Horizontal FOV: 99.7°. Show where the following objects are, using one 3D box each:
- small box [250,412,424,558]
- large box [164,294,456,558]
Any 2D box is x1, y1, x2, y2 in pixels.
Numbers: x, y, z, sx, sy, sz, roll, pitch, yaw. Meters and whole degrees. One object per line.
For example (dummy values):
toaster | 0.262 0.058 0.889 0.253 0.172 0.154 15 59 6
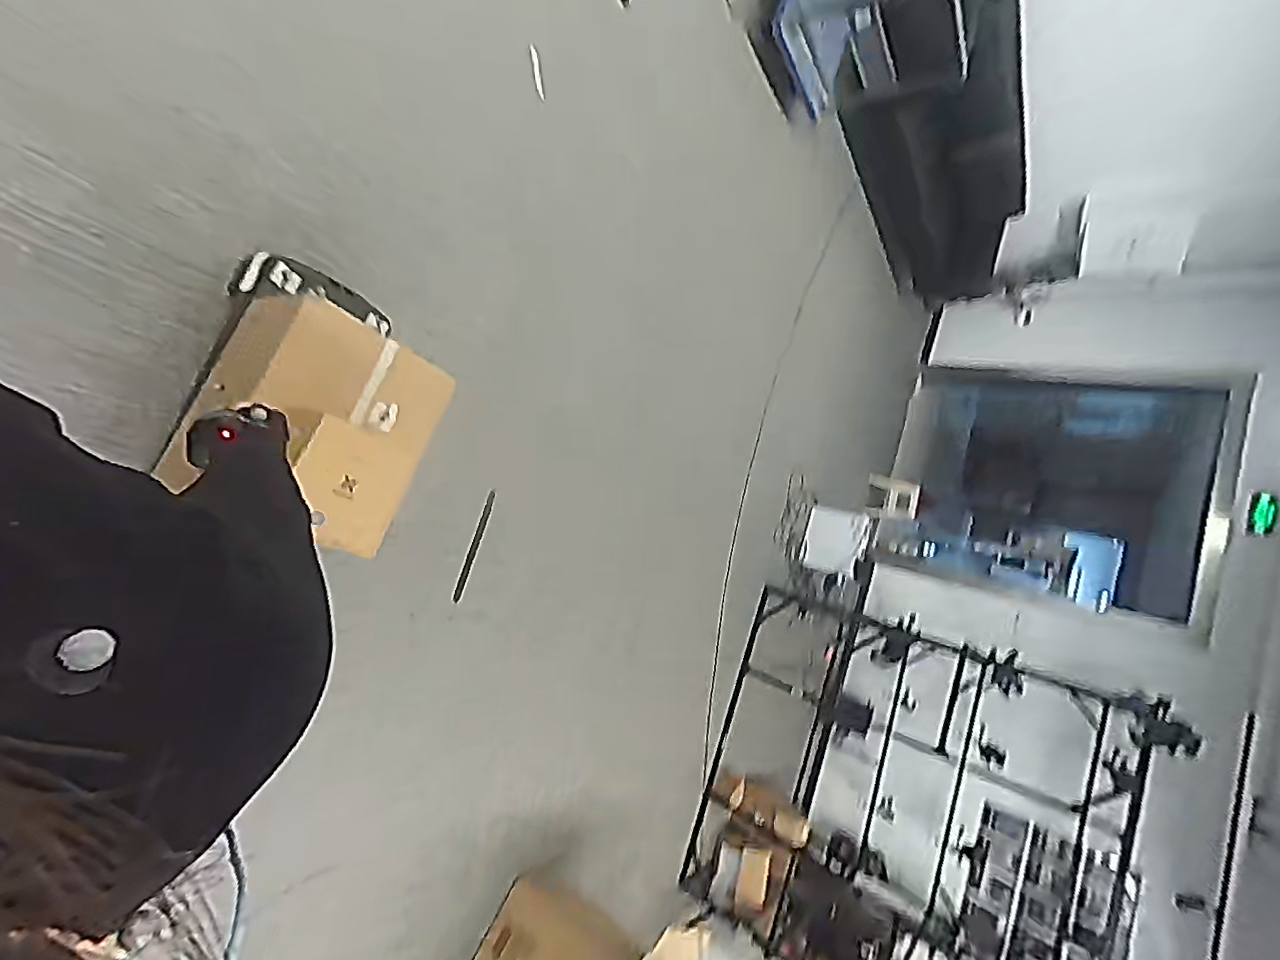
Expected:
small box | -0.501 0.004 0.889 0.168 0.176 0.179 39 69 -47
large box | -0.646 -0.099 1.078 0.320 0.320 0.408 34 72 -50
